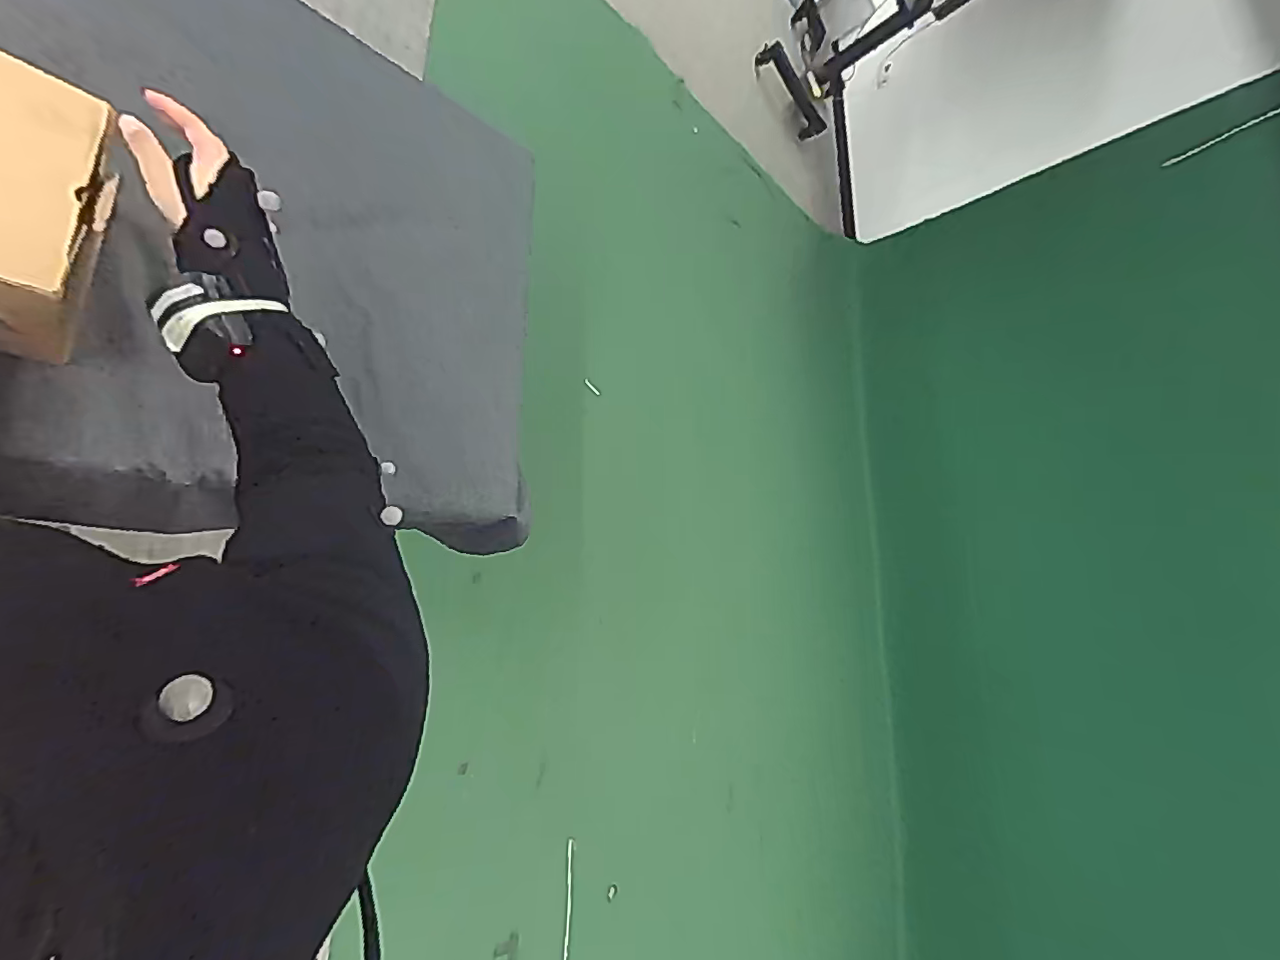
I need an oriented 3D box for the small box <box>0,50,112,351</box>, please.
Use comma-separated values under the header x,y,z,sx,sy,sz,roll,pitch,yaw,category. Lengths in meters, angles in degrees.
x,y,z,sx,sy,sz,roll,pitch,yaw,category
-0.522,-0.211,0.389,0.179,0.176,0.168,13,71,-43,small box
